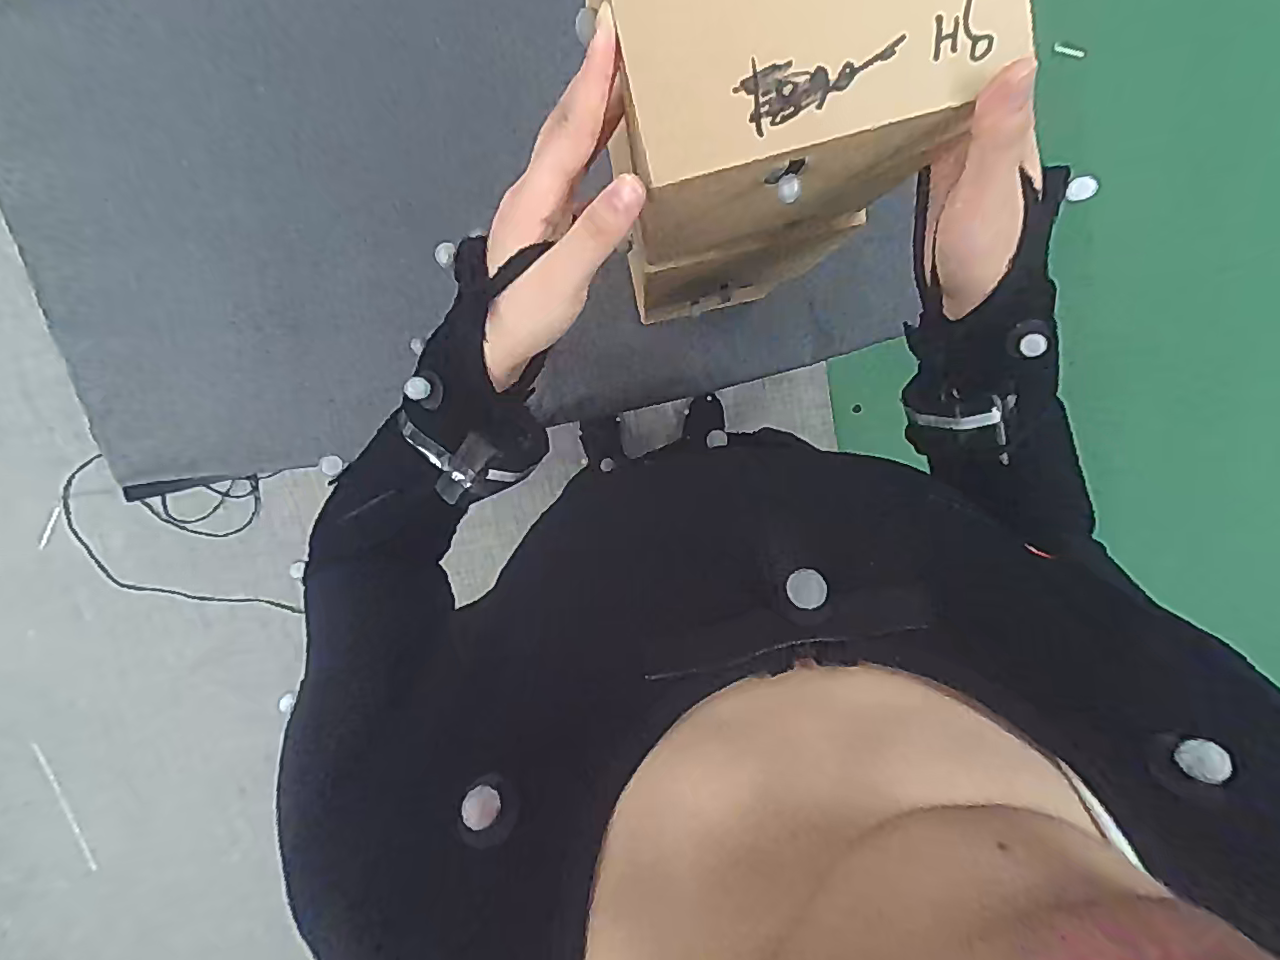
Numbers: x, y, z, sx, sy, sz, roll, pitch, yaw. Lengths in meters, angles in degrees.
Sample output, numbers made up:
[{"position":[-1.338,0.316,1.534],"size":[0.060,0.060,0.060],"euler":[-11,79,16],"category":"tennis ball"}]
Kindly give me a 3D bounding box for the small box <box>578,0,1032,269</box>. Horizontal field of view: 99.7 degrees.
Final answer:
[{"position":[0.059,-0.232,0.284],"size":[0.168,0.176,0.179],"euler":[-13,101,3],"category":"small box"}]

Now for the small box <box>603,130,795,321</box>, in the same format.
[{"position":[0.062,-0.286,0.612],"size":[0.168,0.176,0.179],"euler":[-12,98,3],"category":"small box"}]
